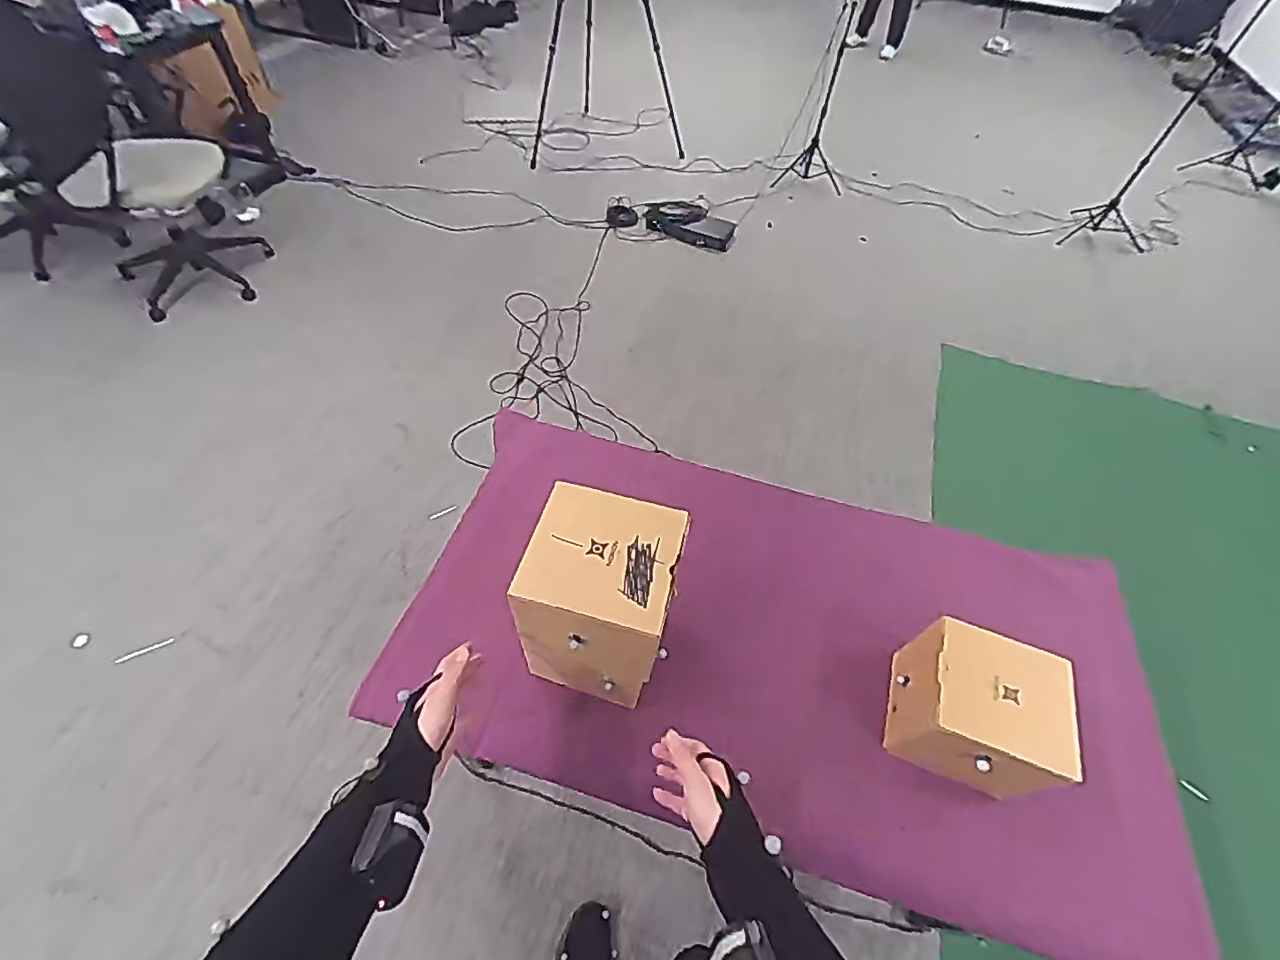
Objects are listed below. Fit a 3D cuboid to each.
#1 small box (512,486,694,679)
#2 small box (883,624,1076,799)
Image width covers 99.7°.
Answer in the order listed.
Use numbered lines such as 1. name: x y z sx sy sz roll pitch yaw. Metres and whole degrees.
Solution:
1. small box: -0.042 0.137 0.691 0.179 0.176 0.168 14 53 6
2. small box: 0.485 0.344 0.791 0.179 0.176 0.168 20 54 11
